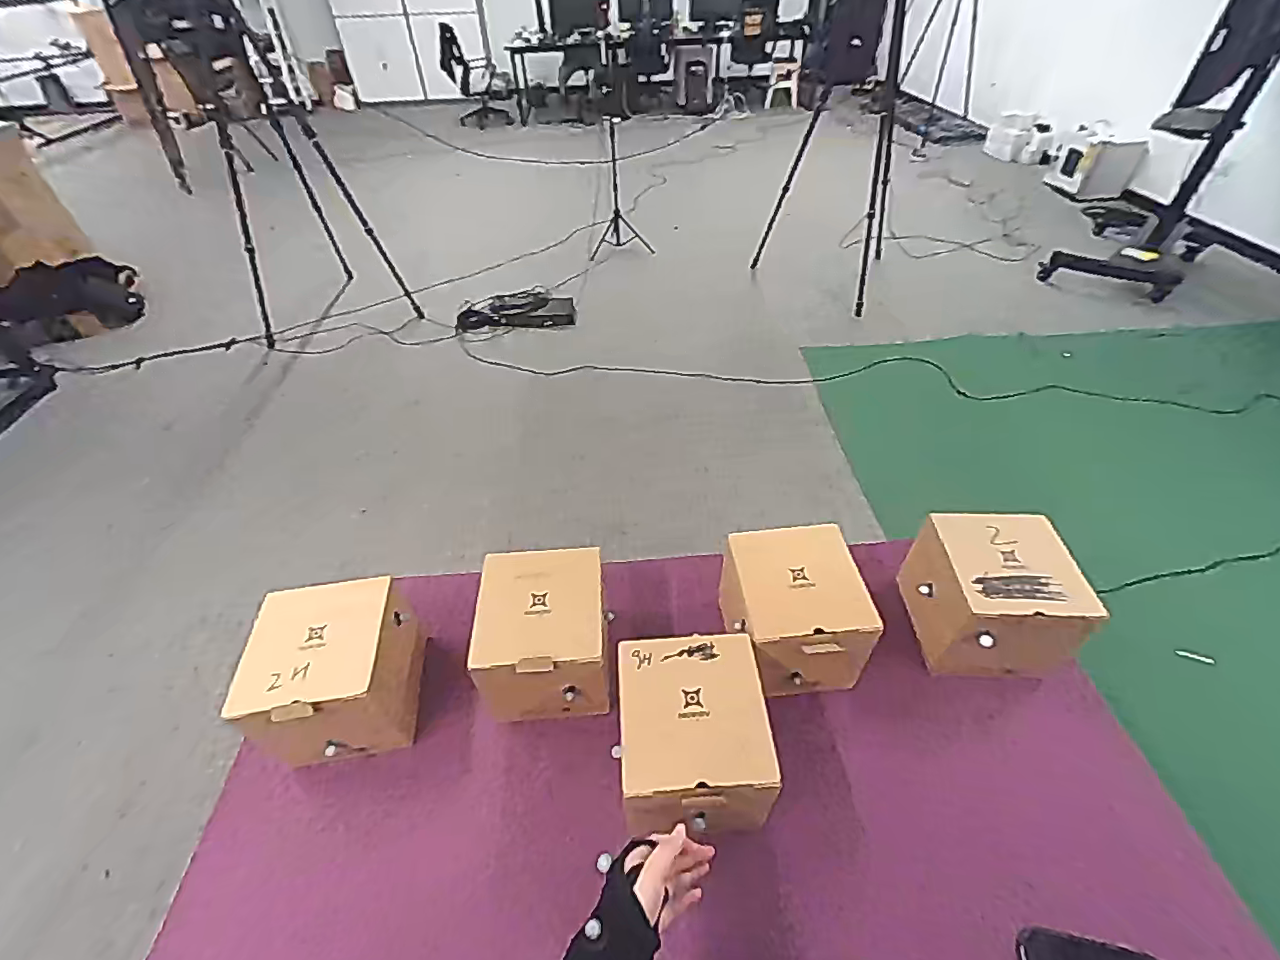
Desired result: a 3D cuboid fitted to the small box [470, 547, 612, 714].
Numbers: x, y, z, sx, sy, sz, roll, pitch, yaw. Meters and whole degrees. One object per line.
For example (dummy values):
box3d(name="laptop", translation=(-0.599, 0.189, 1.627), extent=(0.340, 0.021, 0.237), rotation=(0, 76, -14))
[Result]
box3d(name="small box", translation=(-0.128, 0.219, 0.772), extent=(0.168, 0.176, 0.179), rotation=(-3, 44, -2))

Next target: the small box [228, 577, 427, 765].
box3d(name="small box", translation=(-0.405, 0.262, 0.743), extent=(0.168, 0.176, 0.179), rotation=(-8, 45, -5))

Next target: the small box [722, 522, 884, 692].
box3d(name="small box", translation=(0.219, 0.185, 0.788), extent=(0.168, 0.176, 0.179), rotation=(-6, 46, -2))

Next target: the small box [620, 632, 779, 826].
box3d(name="small box", translation=(0.064, 0.311, 0.667), extent=(0.168, 0.176, 0.179), rotation=(-4, 45, -1))
